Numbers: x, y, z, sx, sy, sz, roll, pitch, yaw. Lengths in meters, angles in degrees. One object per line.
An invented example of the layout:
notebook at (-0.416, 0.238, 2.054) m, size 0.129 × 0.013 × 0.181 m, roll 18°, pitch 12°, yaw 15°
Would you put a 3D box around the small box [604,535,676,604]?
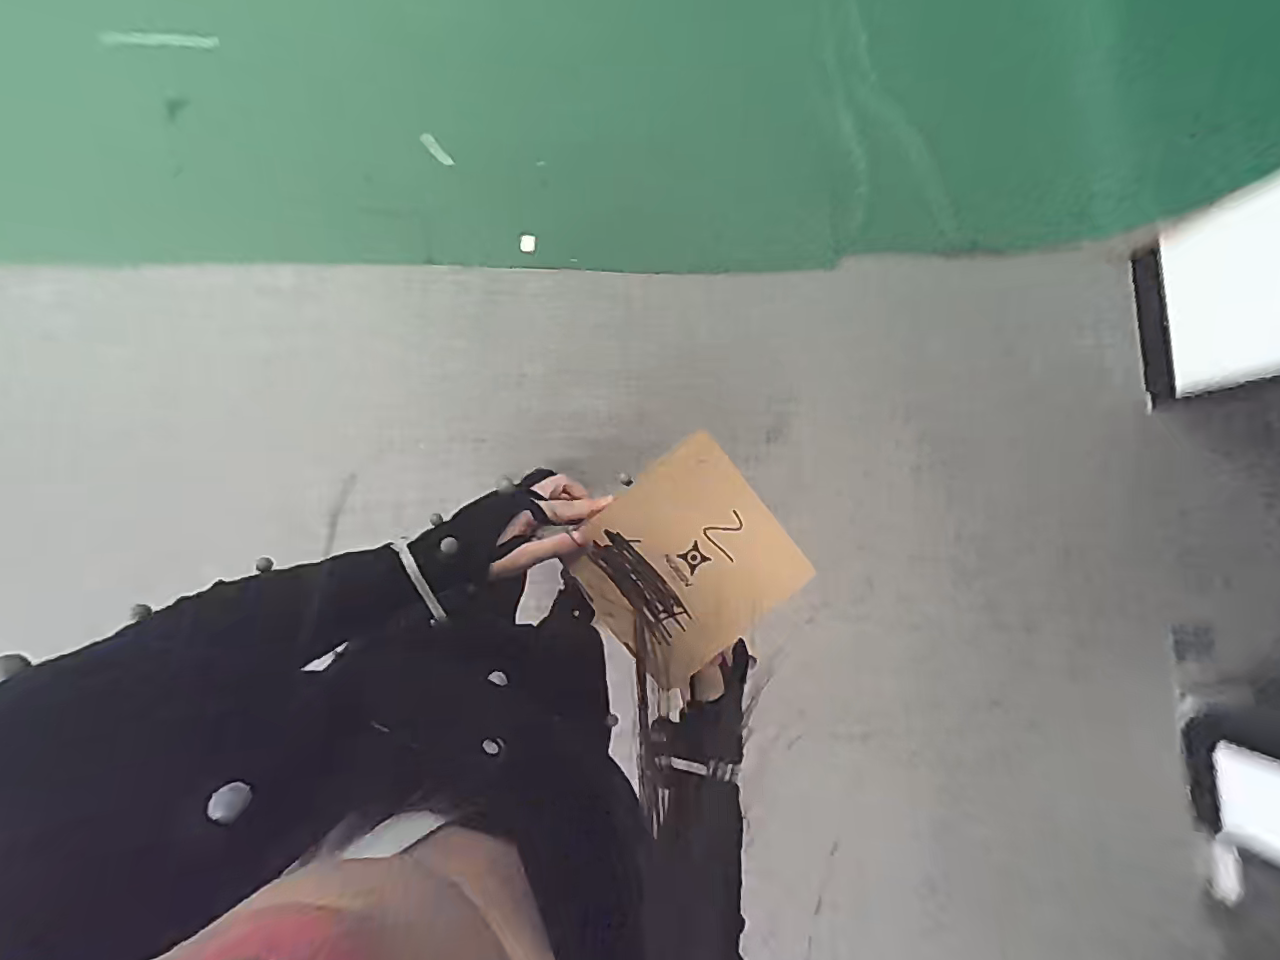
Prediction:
small box at (-0.004, 0.230, 1.416) m, size 0.179 × 0.176 × 0.168 m, roll 0°, pitch 85°, yaw -4°
